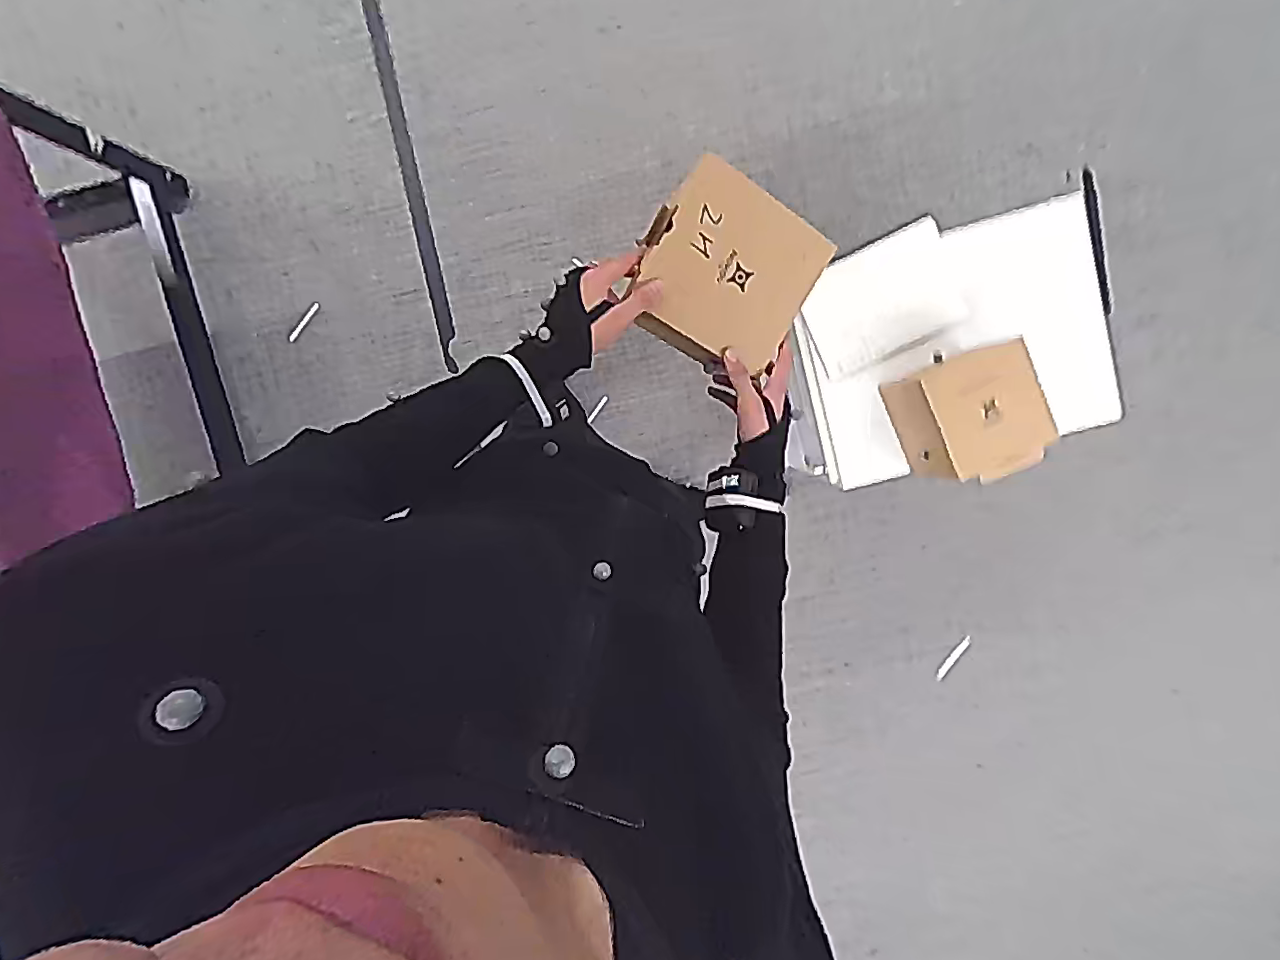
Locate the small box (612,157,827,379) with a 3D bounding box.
[{"bbox_3d":[0.081,-0.243,0.655,0.179,0.176,0.168,28,99,-13],"label":"small box"}]

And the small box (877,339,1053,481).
[{"bbox_3d":[0.534,-0.116,0.912,0.168,0.176,0.179,-23,95,4],"label":"small box"}]
